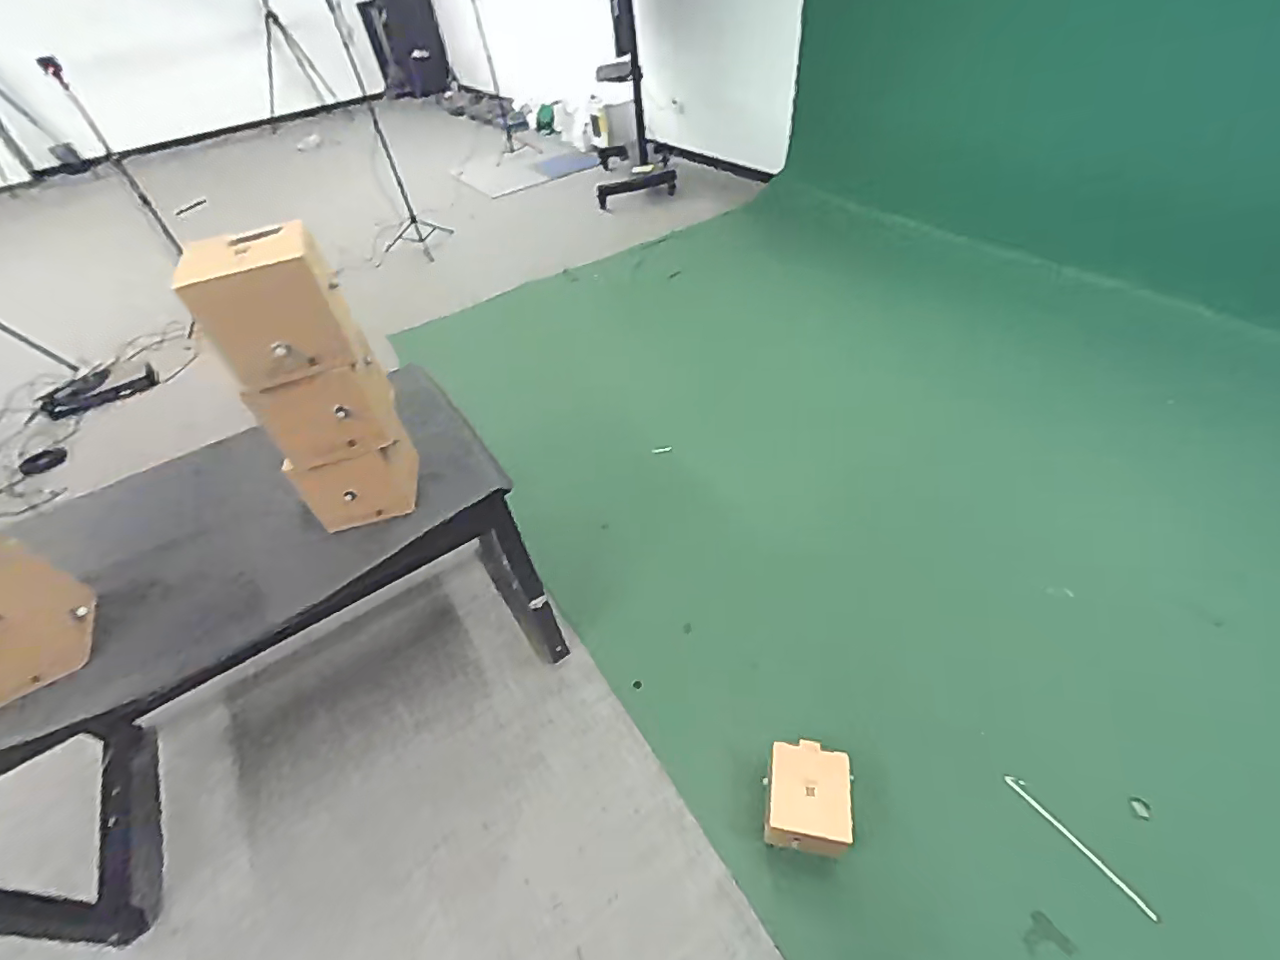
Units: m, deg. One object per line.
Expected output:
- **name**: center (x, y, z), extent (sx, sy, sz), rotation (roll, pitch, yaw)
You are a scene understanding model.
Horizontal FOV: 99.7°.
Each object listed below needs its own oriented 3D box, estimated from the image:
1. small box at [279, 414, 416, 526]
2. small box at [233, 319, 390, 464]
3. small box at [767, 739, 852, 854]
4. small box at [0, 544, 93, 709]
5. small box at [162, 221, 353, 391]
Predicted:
- **small box**: center (-0.549, -0.030, 1.043), extent (0.168, 0.176, 0.179), rotation (-14, 44, -6)
- **small box**: center (-0.546, -0.146, 0.928), extent (0.168, 0.176, 0.179), rotation (-17, 44, -10)
- **small box**: center (0.376, 0.716, 1.217), extent (0.168, 0.176, 0.179), rotation (4, 47, 13)
- **small box**: center (-1.031, 0.242, 0.858), extent (0.168, 0.176, 0.179), rotation (-29, 48, -19)
- **small box**: center (-0.555, -0.261, 0.811), extent (0.168, 0.176, 0.179), rotation (-22, 47, -13)
